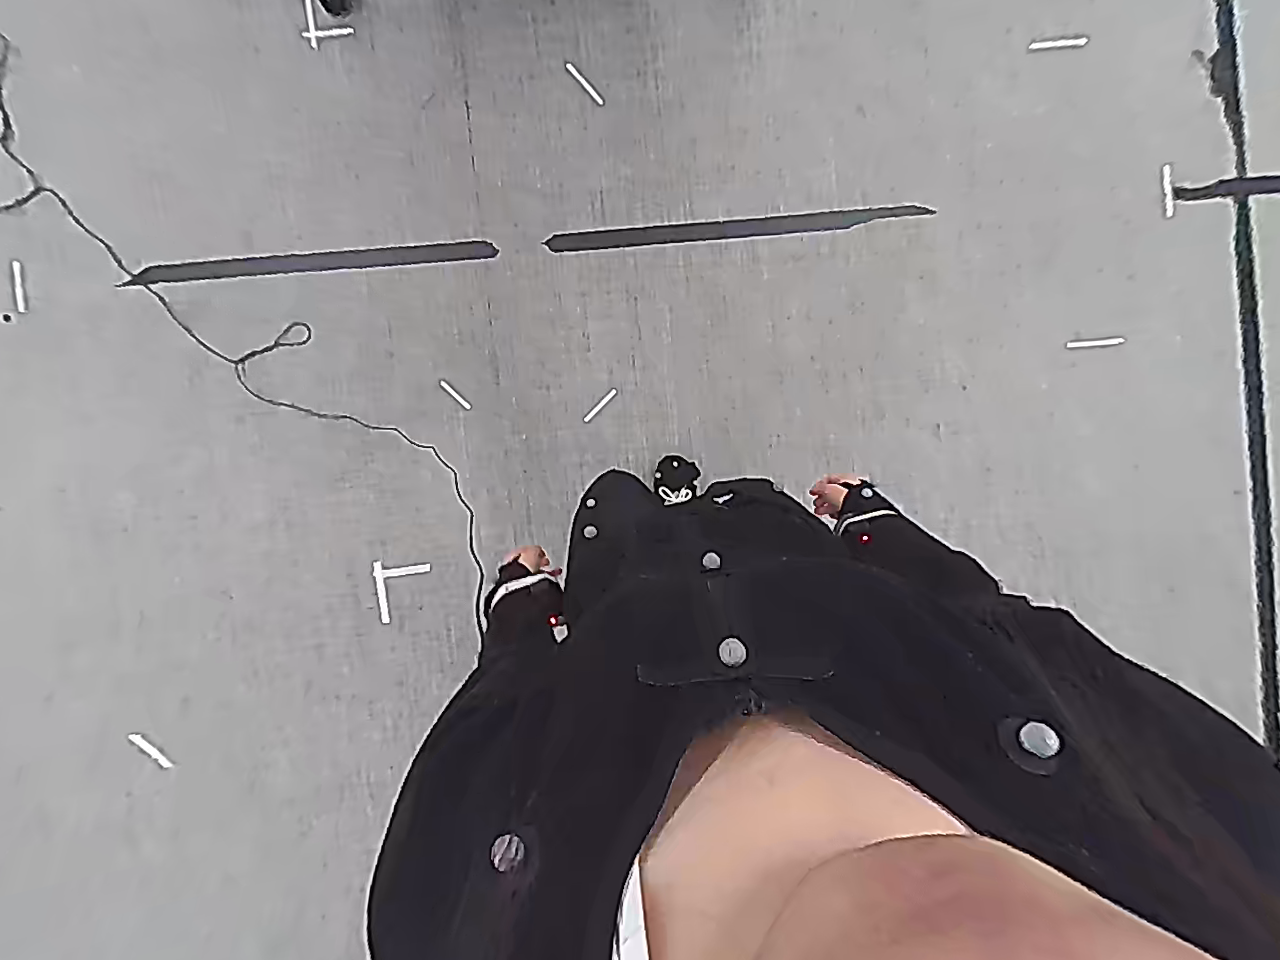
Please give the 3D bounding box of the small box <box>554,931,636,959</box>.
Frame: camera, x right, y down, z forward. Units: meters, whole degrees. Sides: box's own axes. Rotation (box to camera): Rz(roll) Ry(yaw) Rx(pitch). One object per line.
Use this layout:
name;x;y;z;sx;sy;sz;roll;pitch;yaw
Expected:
small box;-0.095;1.092;1.124;0.179;0.176;0.168;-8;91;1

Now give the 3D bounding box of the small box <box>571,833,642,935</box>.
small box;-0.086;1.079;1.448;0.168;0.176;0.179;-7;92;1

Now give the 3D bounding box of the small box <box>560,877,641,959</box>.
small box;-0.089;1.085;1.286;0.168;0.176;0.179;-8;93;2
